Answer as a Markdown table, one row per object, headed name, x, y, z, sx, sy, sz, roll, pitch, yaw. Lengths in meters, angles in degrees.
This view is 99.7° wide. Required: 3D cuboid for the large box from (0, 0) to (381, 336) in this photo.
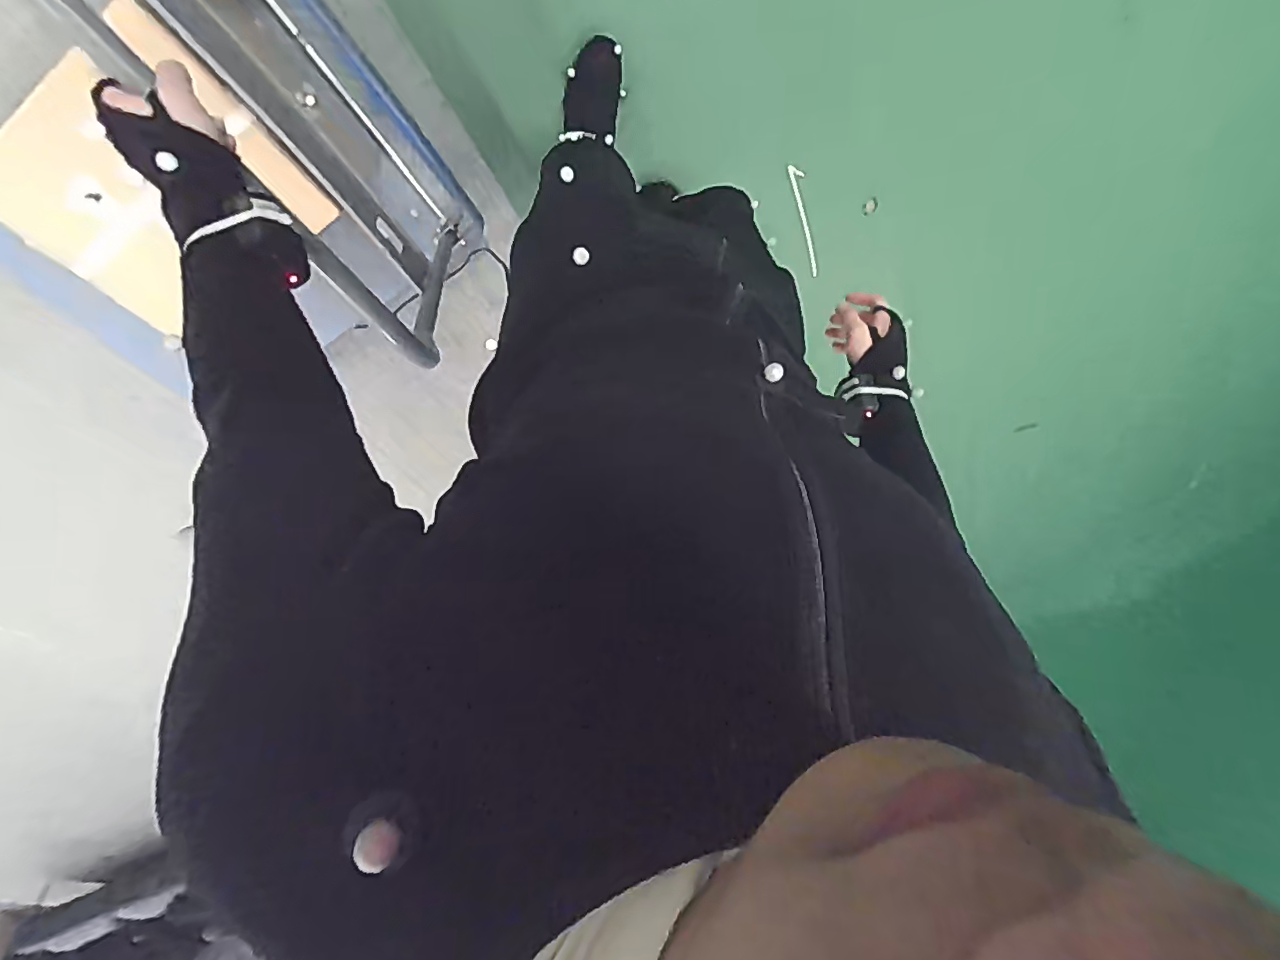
| name | x | y | z | sx | sy | sz | roll | pitch | yaw |
| --- | --- | --- | --- | --- | --- | --- | --- | --- | --- |
| large box | -0.724 | -0.534 | 0.916 | 0.408 | 0.320 | 0.320 | -28 | 131 | 15 |
